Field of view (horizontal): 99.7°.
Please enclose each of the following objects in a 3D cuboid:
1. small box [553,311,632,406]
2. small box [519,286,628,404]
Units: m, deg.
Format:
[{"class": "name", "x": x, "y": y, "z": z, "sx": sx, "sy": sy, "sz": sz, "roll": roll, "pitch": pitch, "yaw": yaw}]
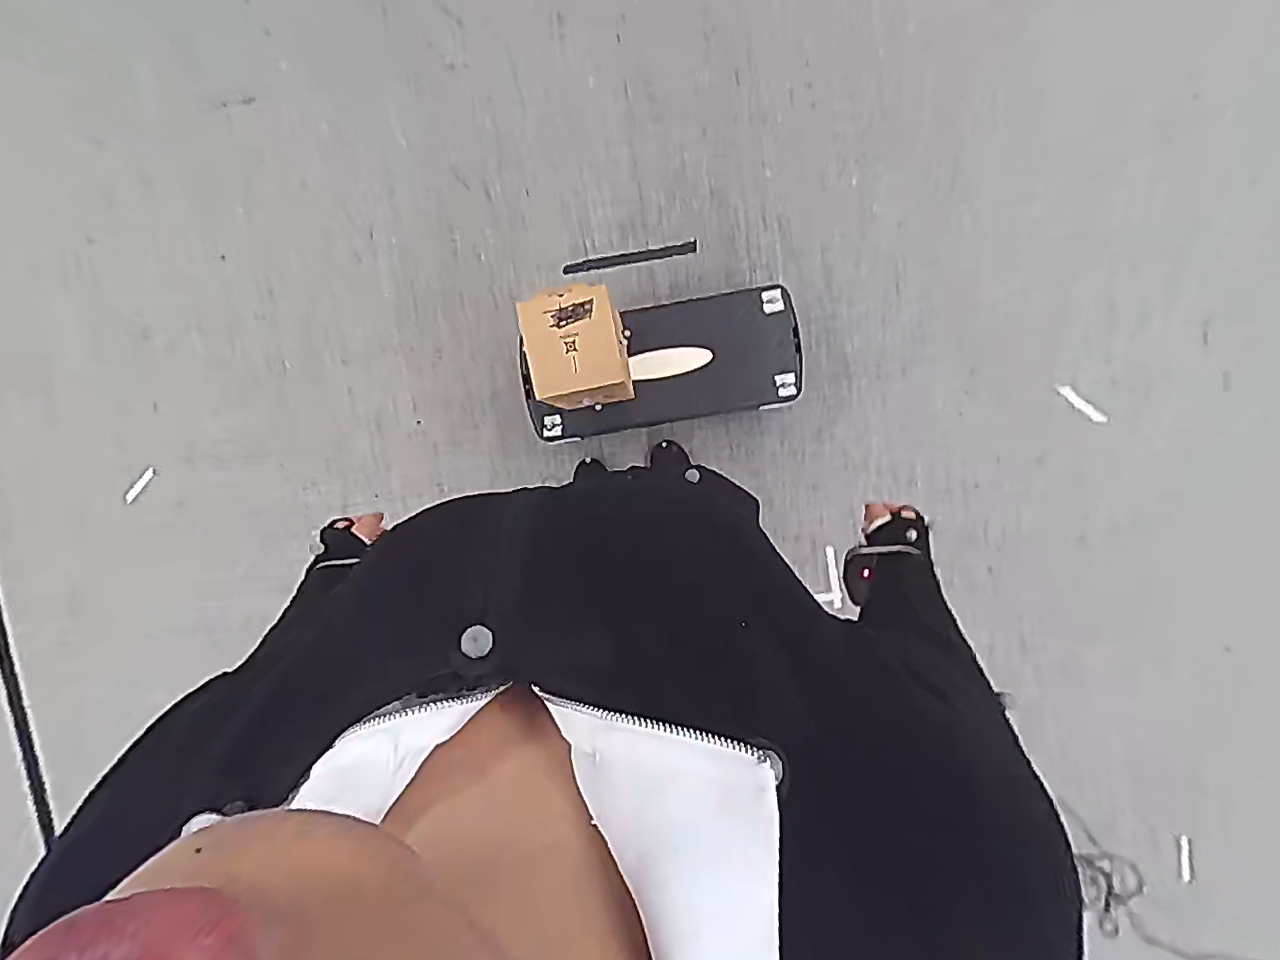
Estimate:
[{"class": "small box", "x": -0.111, "y": -0.257, "z": 1.194, "sx": 0.168, "sy": 0.176, "sz": 0.179, "roll": -9, "pitch": 95, "yaw": 3}, {"class": "small box", "x": -0.119, "y": -0.248, "z": 1.031, "sx": 0.168, "sy": 0.176, "sz": 0.179, "roll": -11, "pitch": 95, "yaw": 3}]
